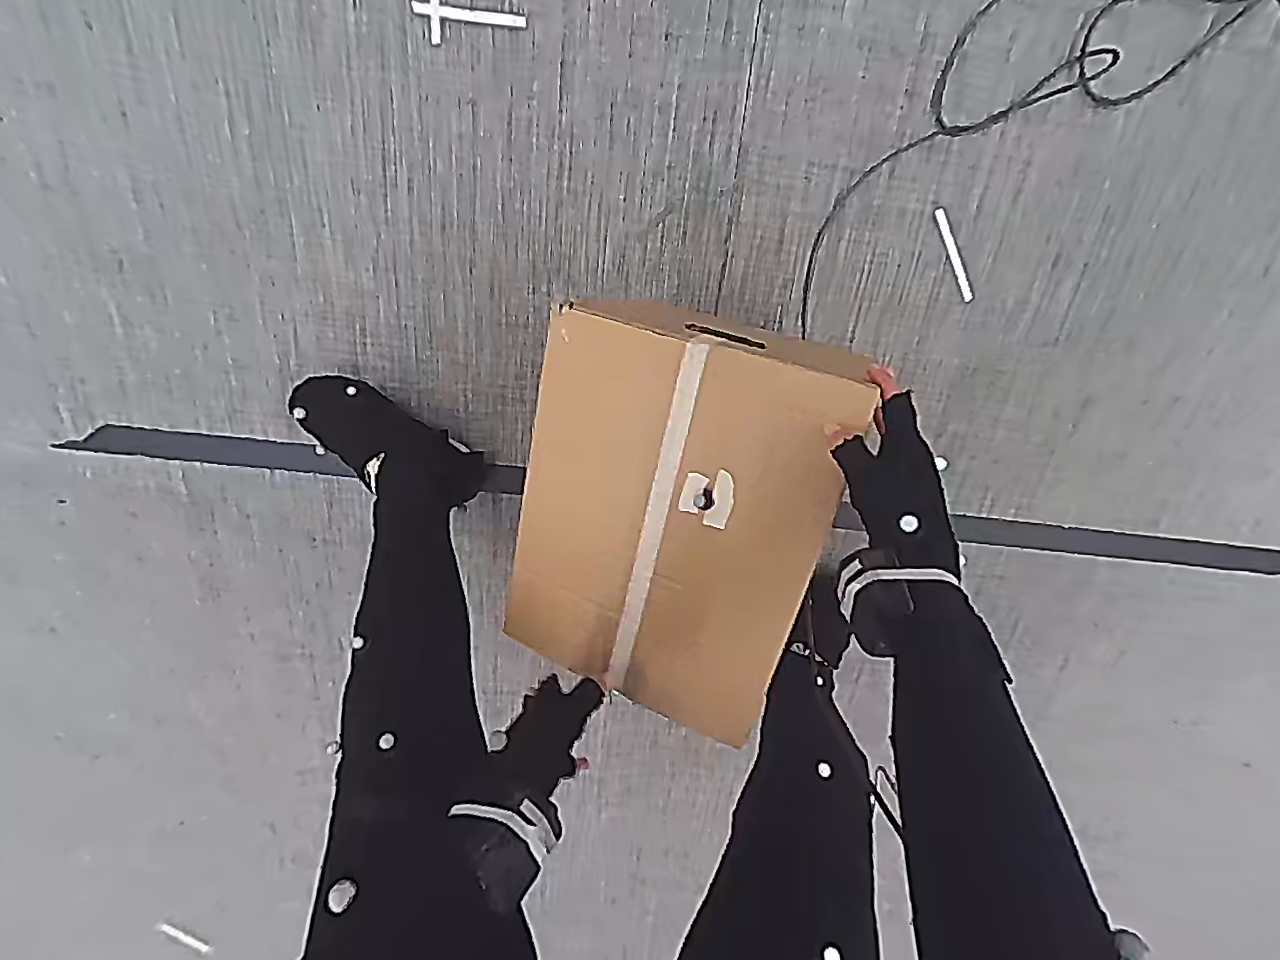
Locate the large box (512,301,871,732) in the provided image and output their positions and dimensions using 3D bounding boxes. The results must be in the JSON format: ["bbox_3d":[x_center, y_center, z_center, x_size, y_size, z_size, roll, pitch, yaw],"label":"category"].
[{"bbox_3d":[0.072,0.013,0.701,0.320,0.320,0.408,20,112,17],"label":"large box"}]
